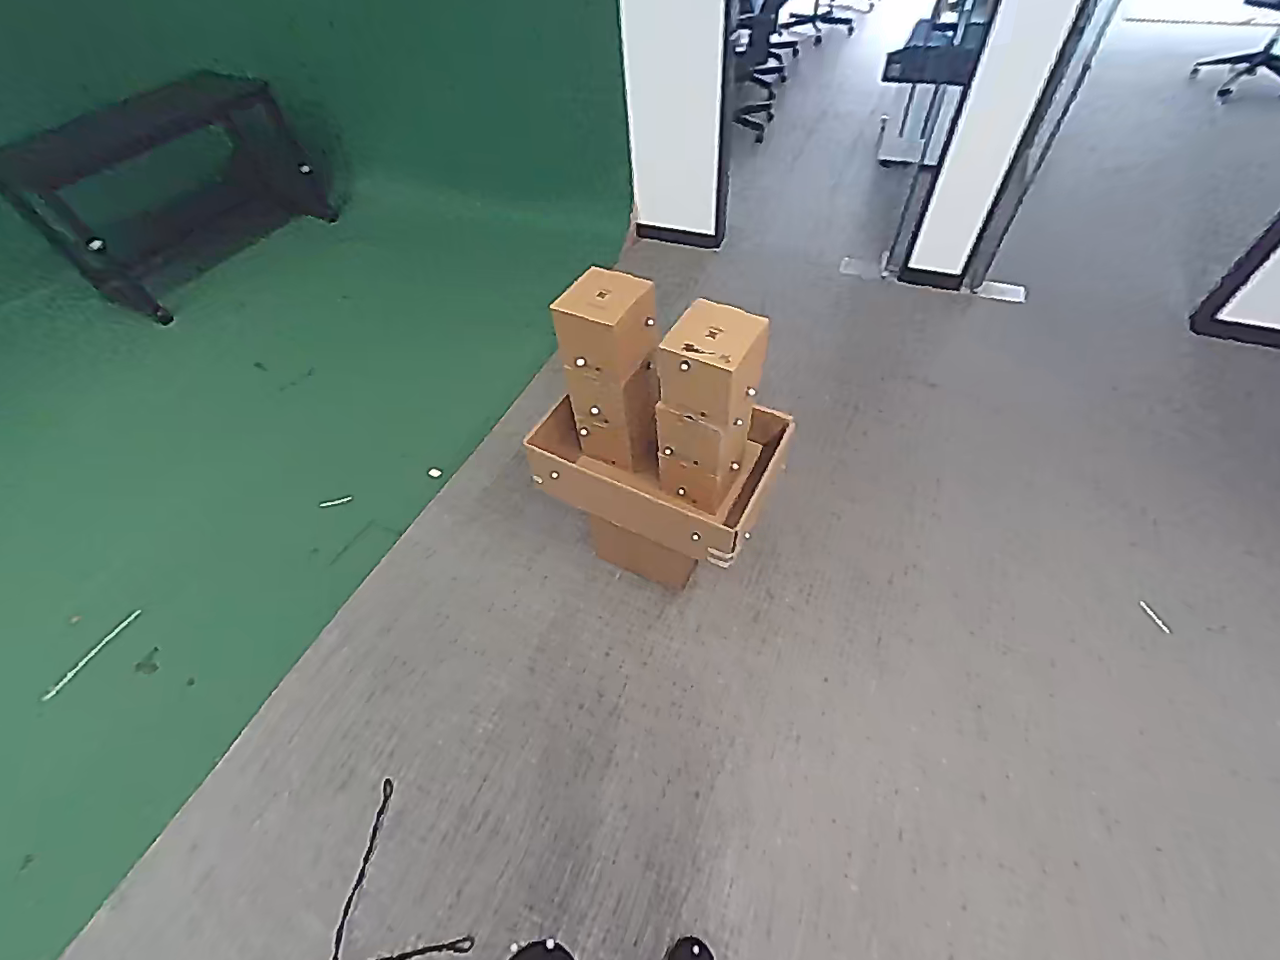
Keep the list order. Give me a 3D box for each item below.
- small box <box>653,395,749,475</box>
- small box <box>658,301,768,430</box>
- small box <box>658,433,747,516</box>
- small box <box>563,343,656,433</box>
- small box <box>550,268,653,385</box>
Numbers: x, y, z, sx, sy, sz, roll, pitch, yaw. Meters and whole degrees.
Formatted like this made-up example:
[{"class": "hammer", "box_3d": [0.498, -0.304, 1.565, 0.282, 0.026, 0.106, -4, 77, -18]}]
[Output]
[{"class": "small box", "box_3d": [0.148, -0.140, 1.267, 0.168, 0.176, 0.179, 24, 58, 21]}, {"class": "small box", "box_3d": [0.150, -0.240, 1.136, 0.168, 0.176, 0.179, 24, 58, 21]}, {"class": "small box", "box_3d": [0.158, -0.040, 1.397, 0.168, 0.176, 0.179, 24, 59, 21]}, {"class": "small box", "box_3d": [-0.070, -0.251, 1.367, 0.168, 0.176, 0.179, 22, 57, 21]}, {"class": "small box", "box_3d": [-0.080, -0.350, 1.238, 0.168, 0.176, 0.179, 22, 57, 21]}]
